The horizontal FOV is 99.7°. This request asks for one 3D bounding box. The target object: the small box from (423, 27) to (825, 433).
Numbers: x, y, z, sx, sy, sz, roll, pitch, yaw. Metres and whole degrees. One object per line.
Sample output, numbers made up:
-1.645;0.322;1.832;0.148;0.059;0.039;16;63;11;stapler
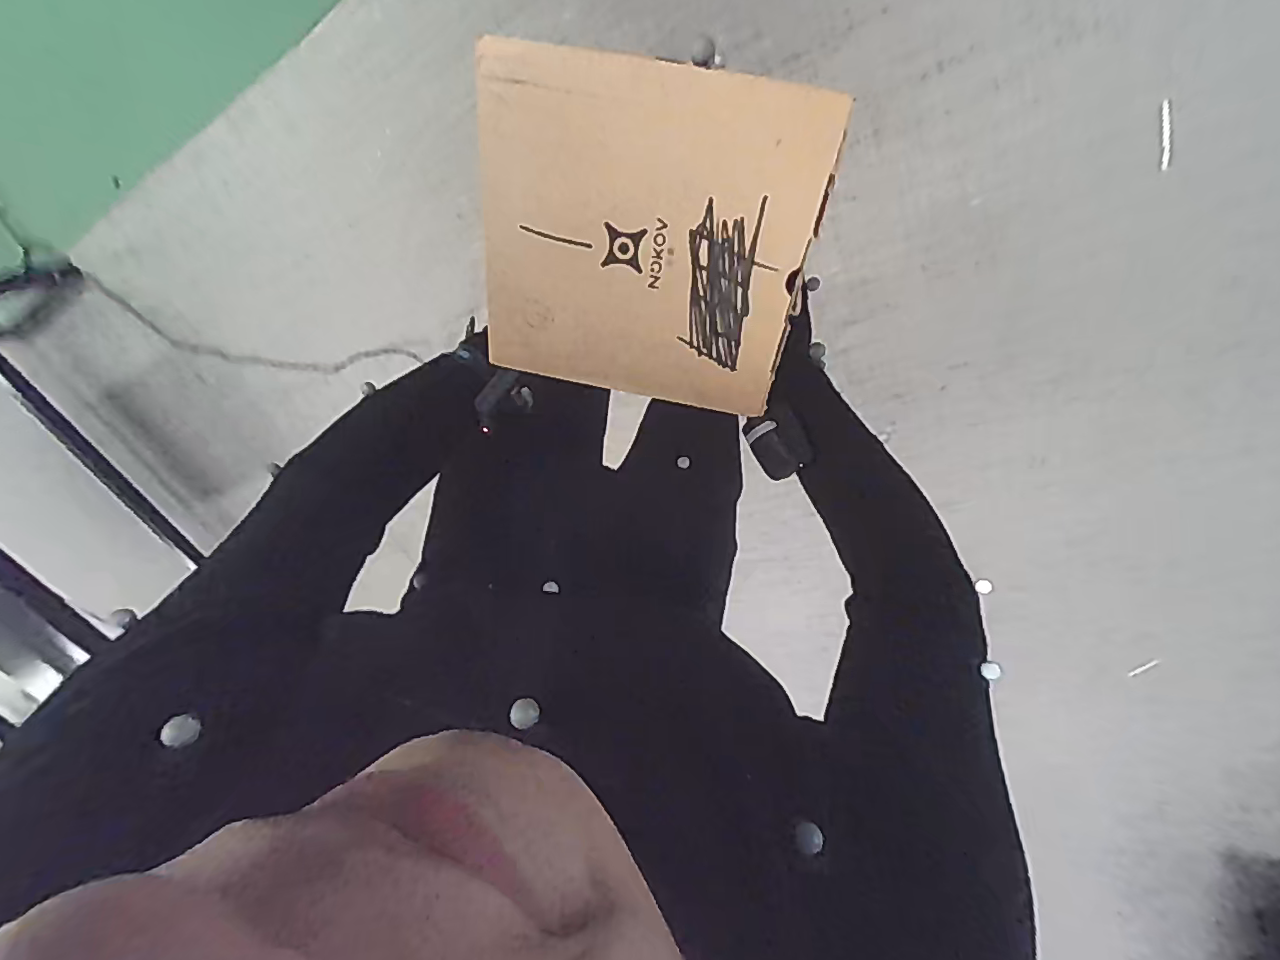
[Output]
-0.006;-0.156;0.335;0.179;0.176;0.168;13;127;3;small box
